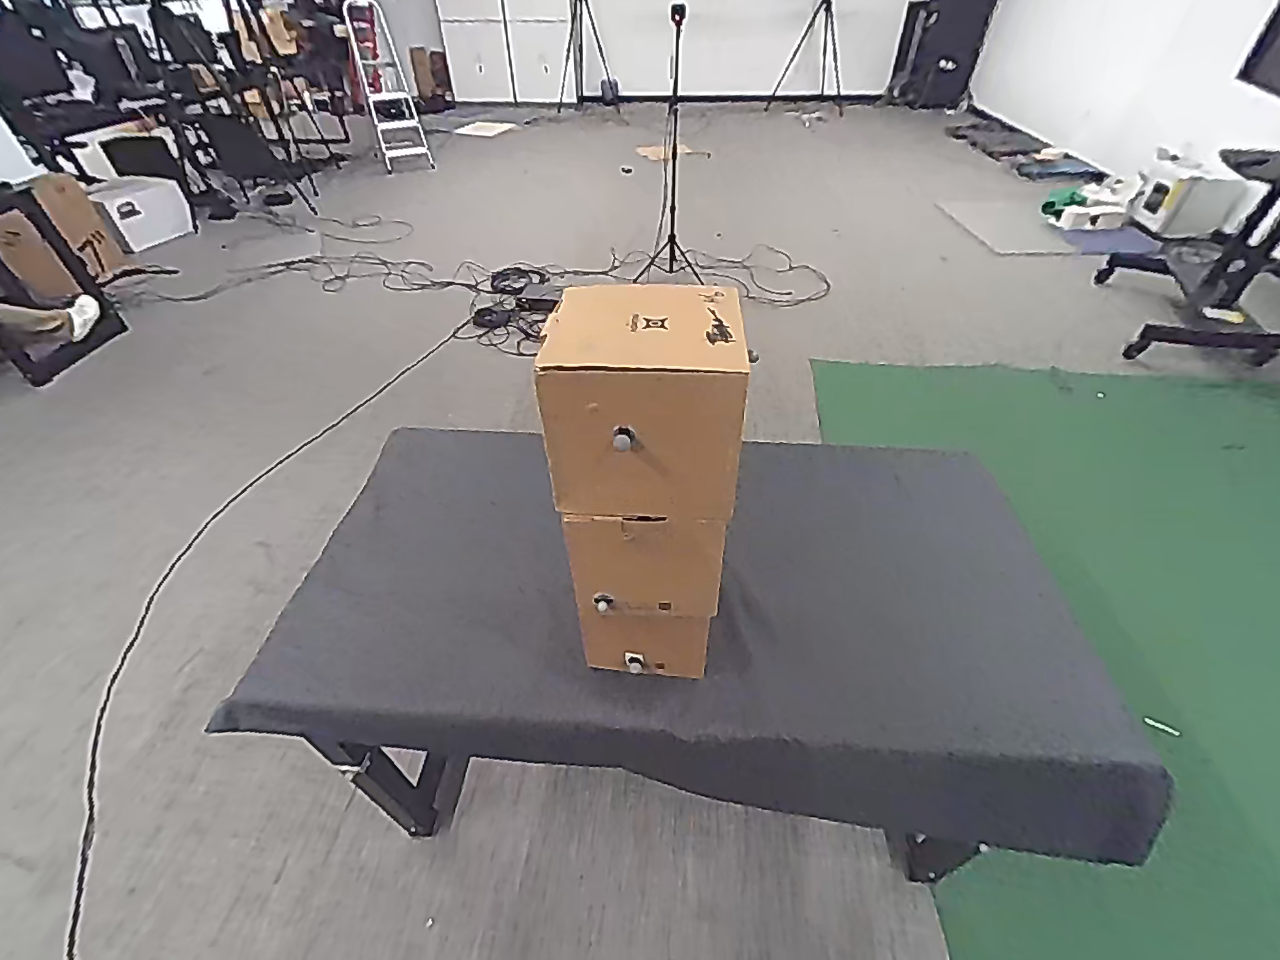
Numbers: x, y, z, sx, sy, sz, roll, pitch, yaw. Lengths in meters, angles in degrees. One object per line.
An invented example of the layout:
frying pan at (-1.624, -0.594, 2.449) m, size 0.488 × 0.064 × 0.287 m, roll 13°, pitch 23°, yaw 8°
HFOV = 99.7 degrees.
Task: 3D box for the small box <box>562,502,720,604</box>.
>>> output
small box at (0.005, 0.039, 0.659) m, size 0.168 × 0.176 × 0.179 m, roll -3°, pitch 43°, yaw 1°

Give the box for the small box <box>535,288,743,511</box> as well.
small box at (0.004, -0.082, 0.552) m, size 0.179 × 0.176 × 0.168 m, roll 0°, pitch 41°, yaw 2°

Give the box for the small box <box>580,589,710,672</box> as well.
small box at (0.015, 0.151, 0.779) m, size 0.168 × 0.176 × 0.179 m, roll 2°, pitch 44°, yaw 5°
